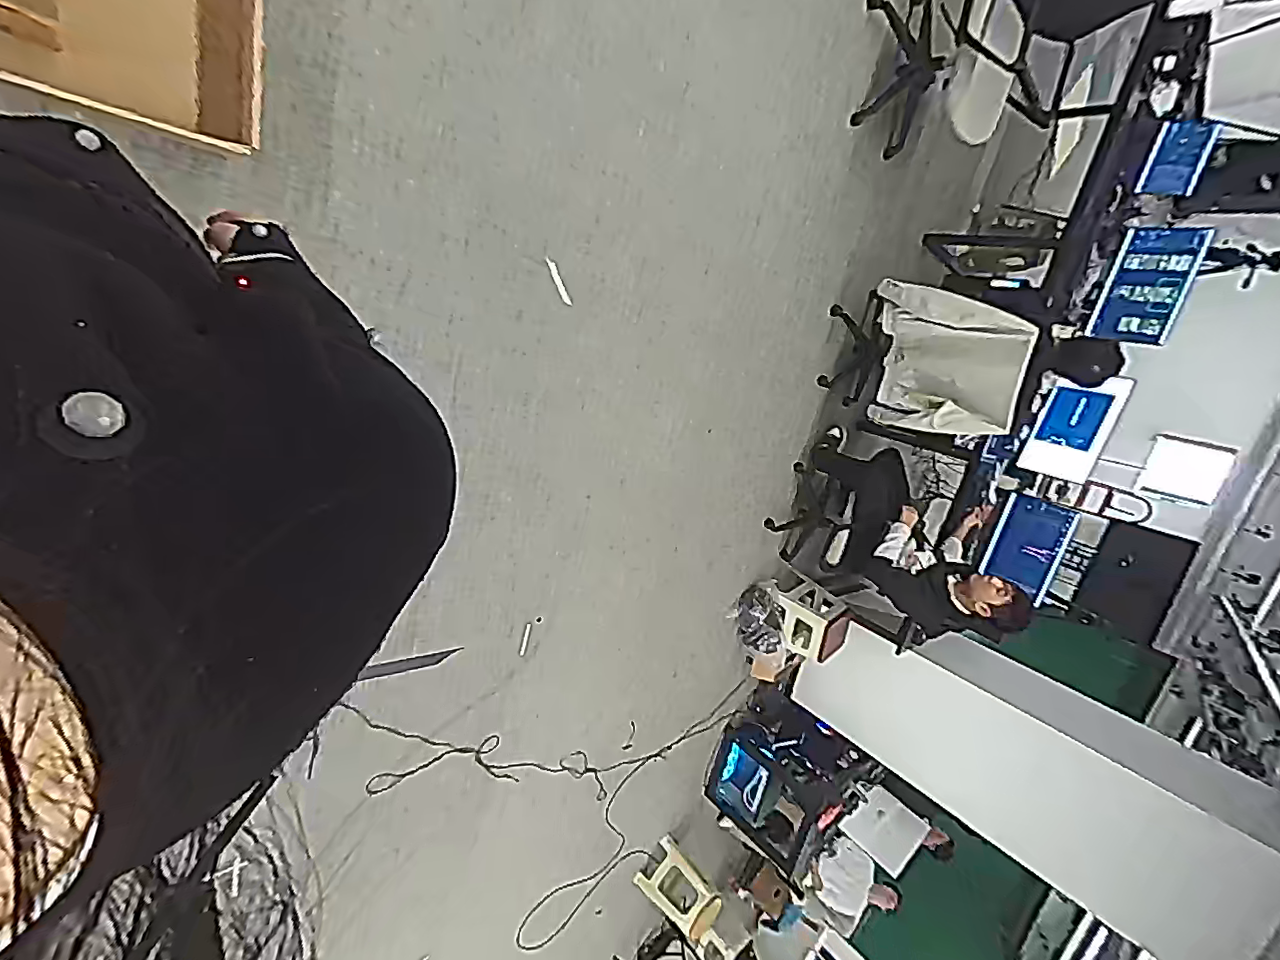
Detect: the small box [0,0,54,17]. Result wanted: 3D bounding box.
[{"bbox_3d":[-0.822,-0.706,0.639,0.168,0.176,0.179,-3,112,-44],"label":"small box"}]
